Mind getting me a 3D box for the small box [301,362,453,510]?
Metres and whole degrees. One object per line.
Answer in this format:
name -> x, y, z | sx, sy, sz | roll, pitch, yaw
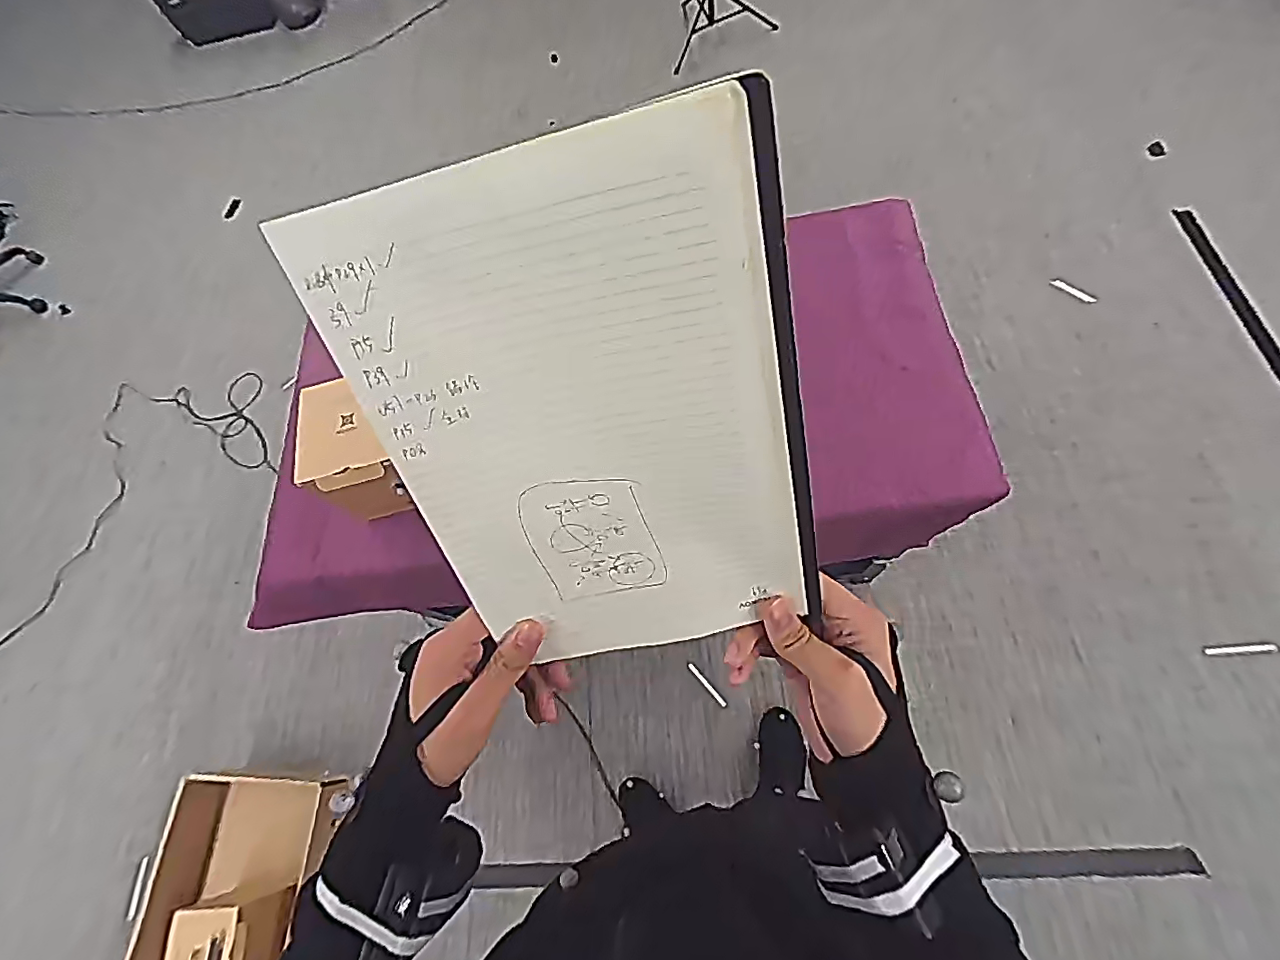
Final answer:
small box -> -0.425, -0.061, 0.897 | 0.168, 0.176, 0.179 | -14, 66, 3
